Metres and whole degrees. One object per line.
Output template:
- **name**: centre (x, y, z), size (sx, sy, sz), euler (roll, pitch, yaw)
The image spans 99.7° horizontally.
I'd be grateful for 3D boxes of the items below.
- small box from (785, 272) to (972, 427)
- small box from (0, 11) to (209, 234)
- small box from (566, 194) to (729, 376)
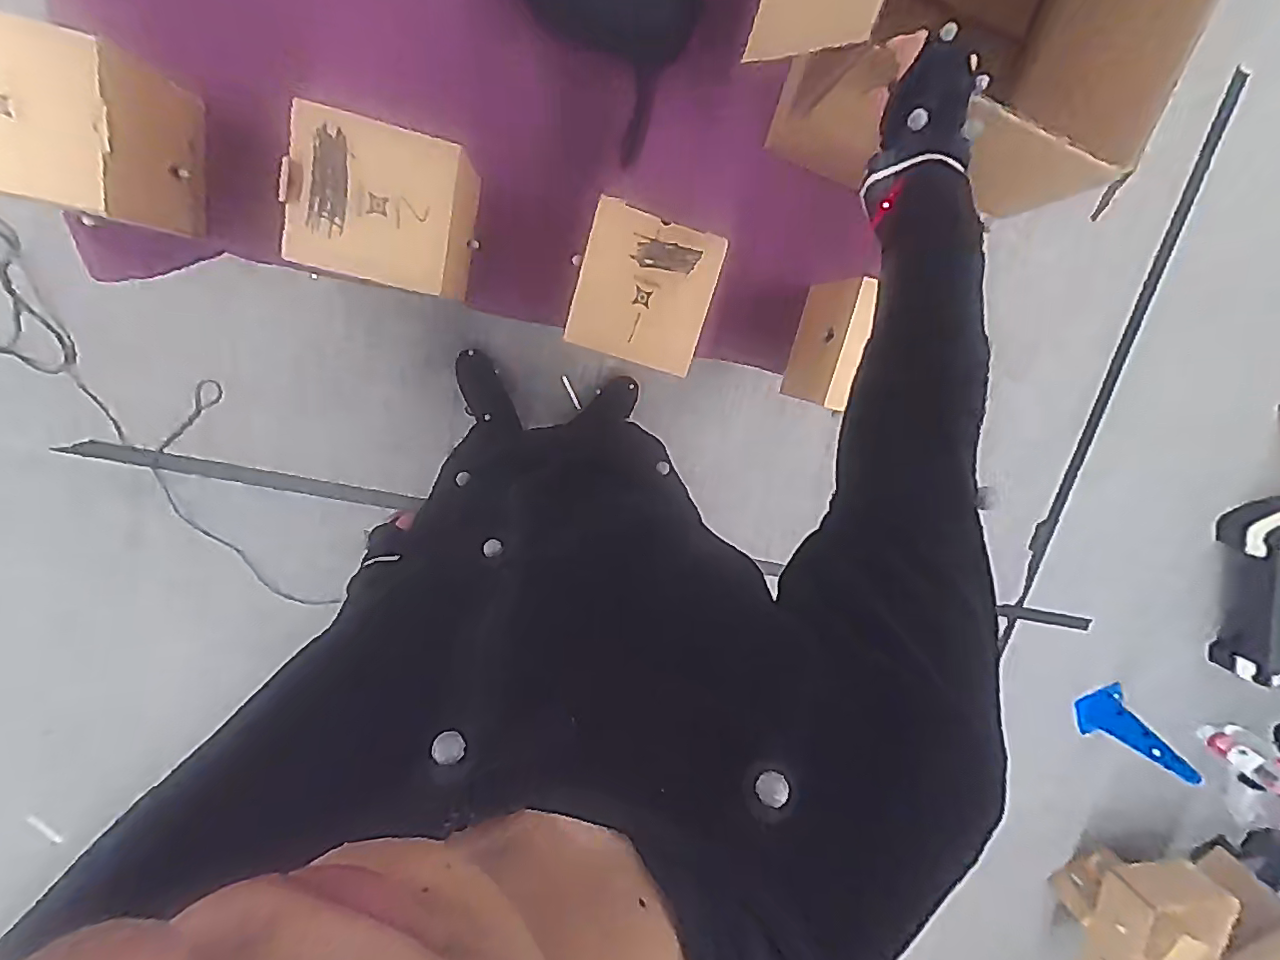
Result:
- **small box**: centre (0.337, -0.192, 0.802), size (0.168, 0.176, 0.179), euler (11, 104, -9)
- **small box**: centre (-0.639, -0.393, 0.614), size (0.179, 0.176, 0.168), euler (8, 104, -11)
- **small box**: centre (-0.002, -0.256, 0.740), size (0.168, 0.176, 0.179), euler (15, 104, -11)
